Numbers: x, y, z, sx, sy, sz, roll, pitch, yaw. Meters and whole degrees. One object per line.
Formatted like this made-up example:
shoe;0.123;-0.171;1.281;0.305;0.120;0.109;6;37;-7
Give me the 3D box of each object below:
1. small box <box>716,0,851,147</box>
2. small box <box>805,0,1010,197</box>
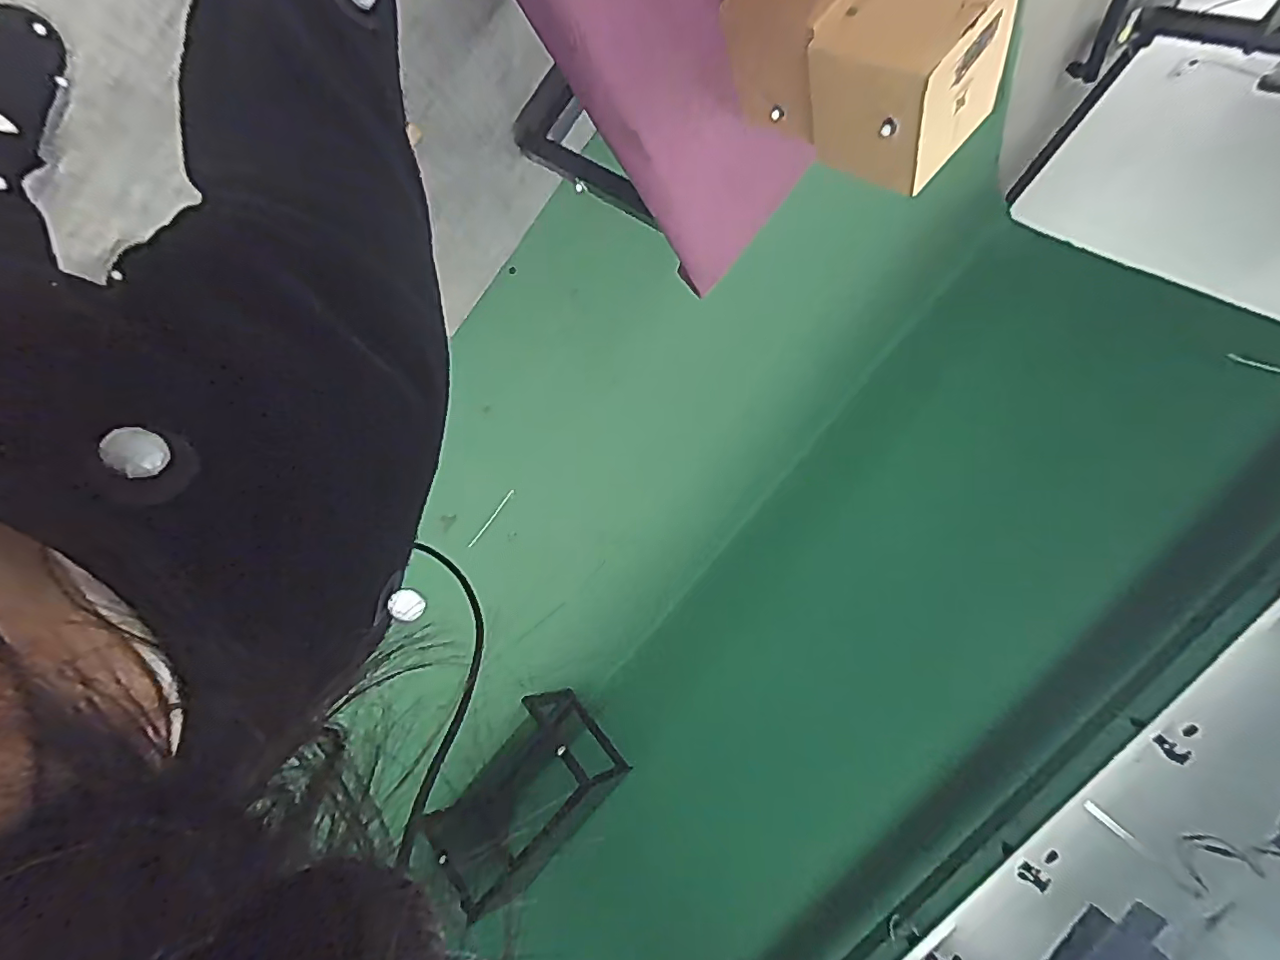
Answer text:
small box;0.234;-0.631;0.772;0.168;0.176;0.179;-47;152;-1
small box;0.333;-0.519;0.704;0.168;0.176;0.179;-47;152;0
